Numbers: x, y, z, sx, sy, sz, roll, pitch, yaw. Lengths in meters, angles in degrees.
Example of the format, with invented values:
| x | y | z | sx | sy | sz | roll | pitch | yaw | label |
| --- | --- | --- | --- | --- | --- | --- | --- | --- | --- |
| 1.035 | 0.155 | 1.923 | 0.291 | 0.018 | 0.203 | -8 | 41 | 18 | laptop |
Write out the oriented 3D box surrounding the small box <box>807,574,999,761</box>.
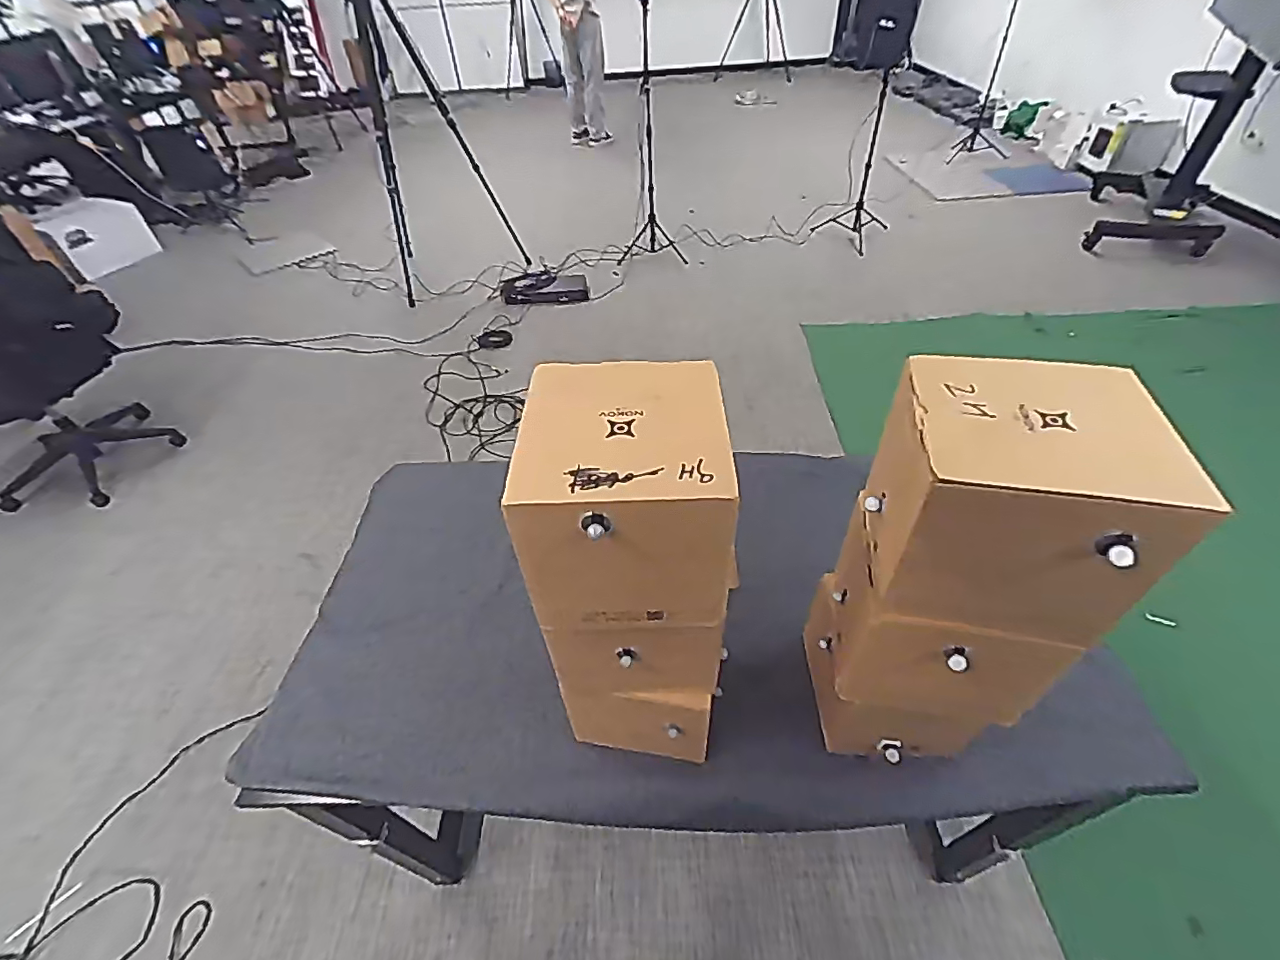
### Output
| x | y | z | sx | sy | sz | roll | pitch | yaw | label |
| --- | --- | --- | --- | --- | --- | --- | --- | --- | --- |
| 0.323 | 0.240 | 0.699 | 0.168 | 0.176 | 0.179 | -2 | 45 | 4 | small box |

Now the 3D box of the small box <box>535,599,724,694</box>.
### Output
| x | y | z | sx | sy | sz | roll | pitch | yaw | label |
| --- | --- | --- | --- | --- | --- | --- | --- | --- | --- |
| -0.004 | 0.126 | 0.606 | 0.179 | 0.176 | 0.168 | -2 | 44 | 3 | small box |

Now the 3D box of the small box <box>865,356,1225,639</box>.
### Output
| x | y | z | sx | sy | sz | roll | pitch | yaw | label |
| --- | --- | --- | --- | --- | --- | --- | --- | --- | --- |
| 0.305 | 0.015 | 0.462 | 0.179 | 0.176 | 0.168 | 6 | 45 | 13 | small box |

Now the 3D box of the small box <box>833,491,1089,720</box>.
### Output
| x | y | z | sx | sy | sz | roll | pitch | yaw | label |
| --- | --- | --- | --- | --- | --- | --- | --- | --- | --- |
| 0.313 | 0.134 | 0.576 | 0.179 | 0.176 | 0.168 | 5 | 45 | 12 | small box |

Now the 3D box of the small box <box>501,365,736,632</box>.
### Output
| x | y | z | sx | sy | sz | roll | pitch | yaw | label |
| --- | --- | --- | --- | --- | --- | --- | --- | --- | --- |
| -0.011 | 0.015 | 0.485 | 0.168 | 0.176 | 0.179 | -2 | 44 | 2 | small box |
